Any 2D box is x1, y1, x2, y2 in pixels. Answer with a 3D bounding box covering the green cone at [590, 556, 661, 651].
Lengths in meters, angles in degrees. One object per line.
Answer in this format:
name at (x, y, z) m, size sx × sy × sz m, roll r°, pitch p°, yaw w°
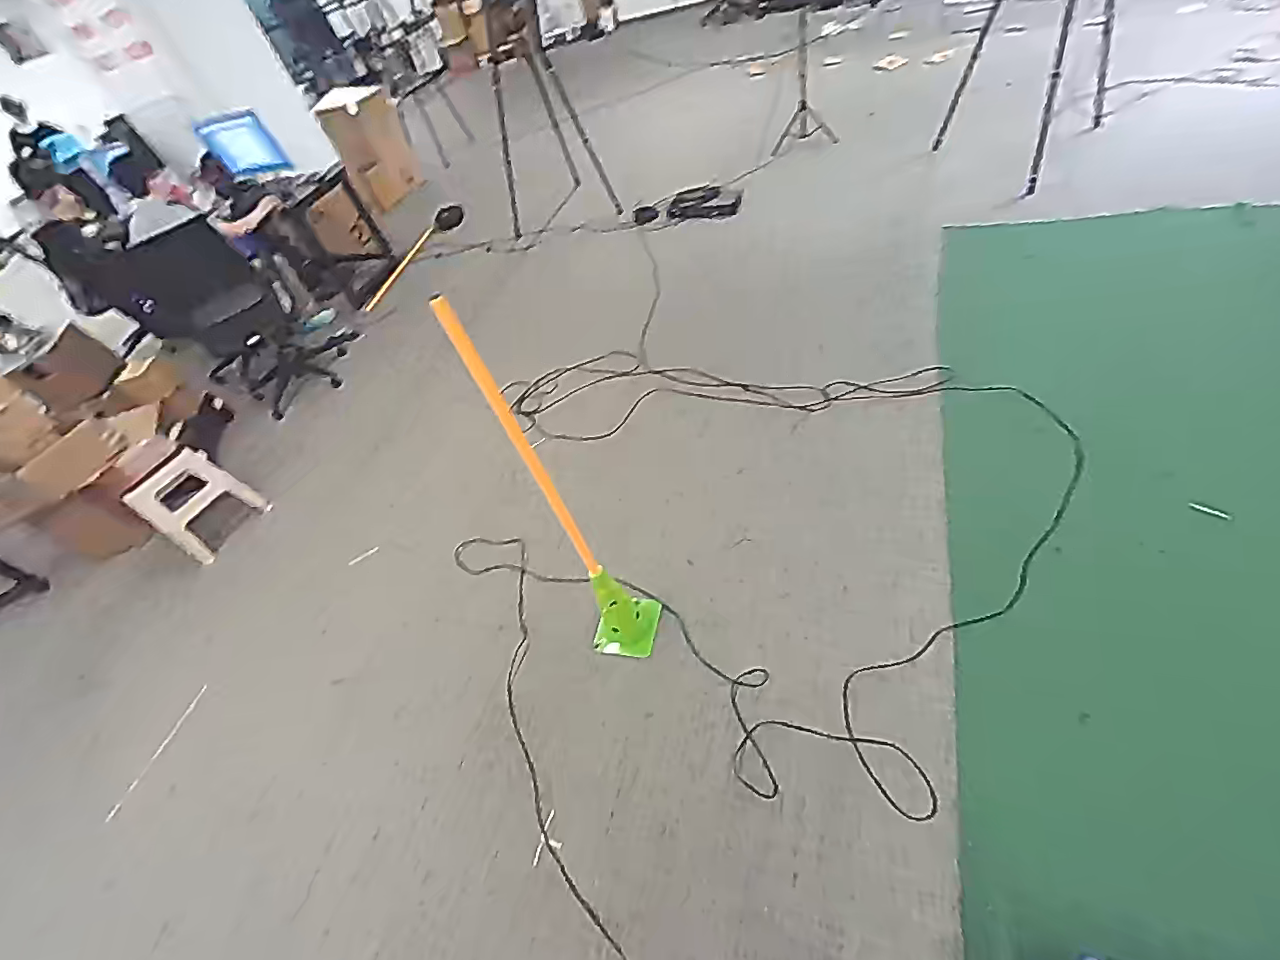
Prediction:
green cone at (-0.081, 0.352, 1.664) m, size 0.200 × 0.368 × 0.202 m, roll 2°, pitch 50°, yaw 19°
